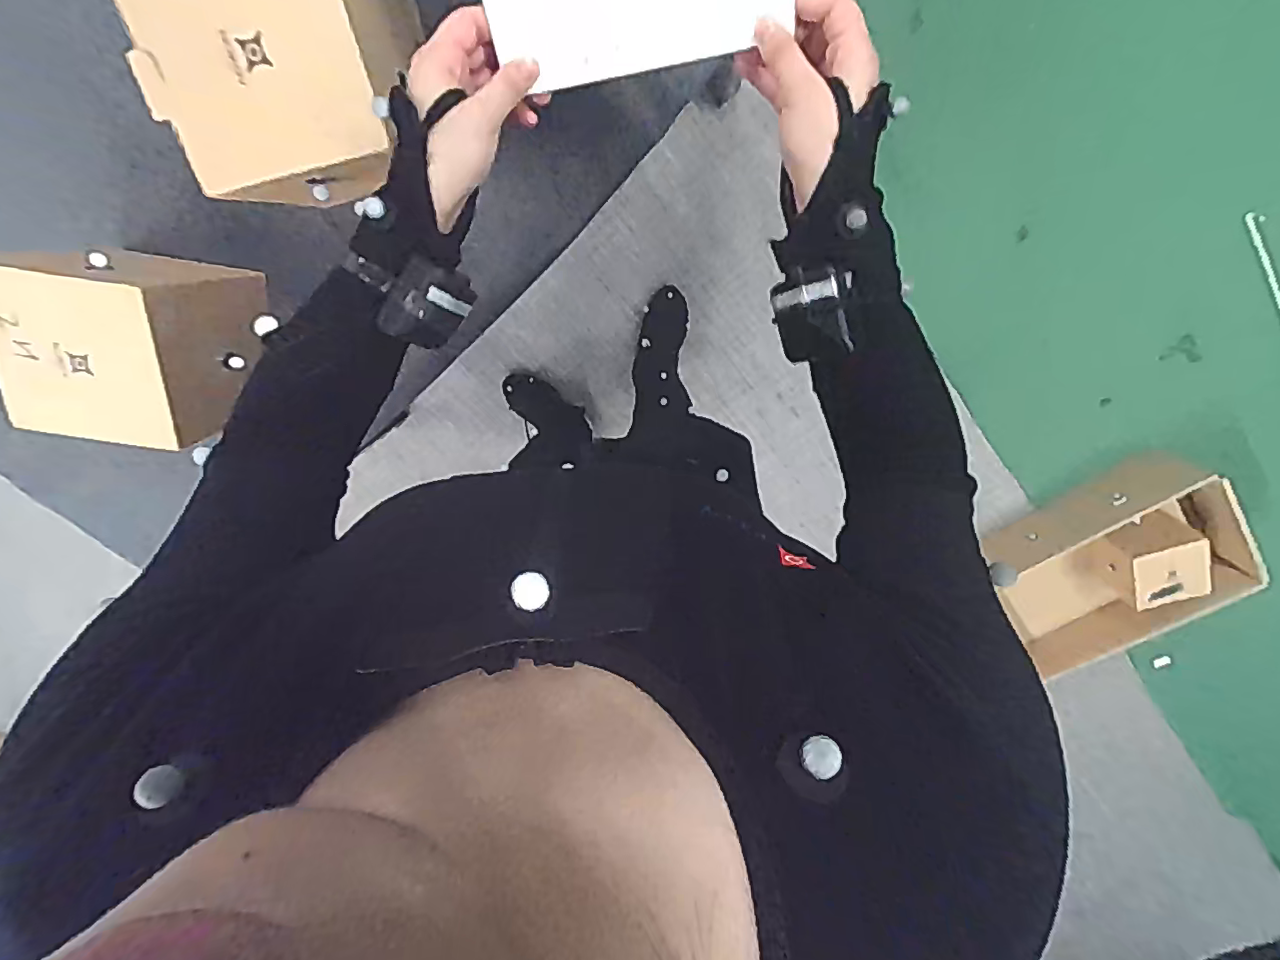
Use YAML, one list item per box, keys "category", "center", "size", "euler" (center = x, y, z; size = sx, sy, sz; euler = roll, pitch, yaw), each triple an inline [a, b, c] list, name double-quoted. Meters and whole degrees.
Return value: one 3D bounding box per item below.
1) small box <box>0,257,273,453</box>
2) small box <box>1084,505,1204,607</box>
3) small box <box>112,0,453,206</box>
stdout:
- category: "small box"
  center: [-0.540, -0.145, 0.595]
  size: [0.179, 0.176, 0.168]
  euler: [9, 115, 0]
- category: "small box"
  center: [1.306, 0.194, 1.409]
  size: [0.168, 0.176, 0.179]
  euler: [-21, 113, 13]
- category: "small box"
  center: [-0.289, -0.353, 0.482]
  size: [0.179, 0.176, 0.168]
  euler: [-9, 114, 9]
